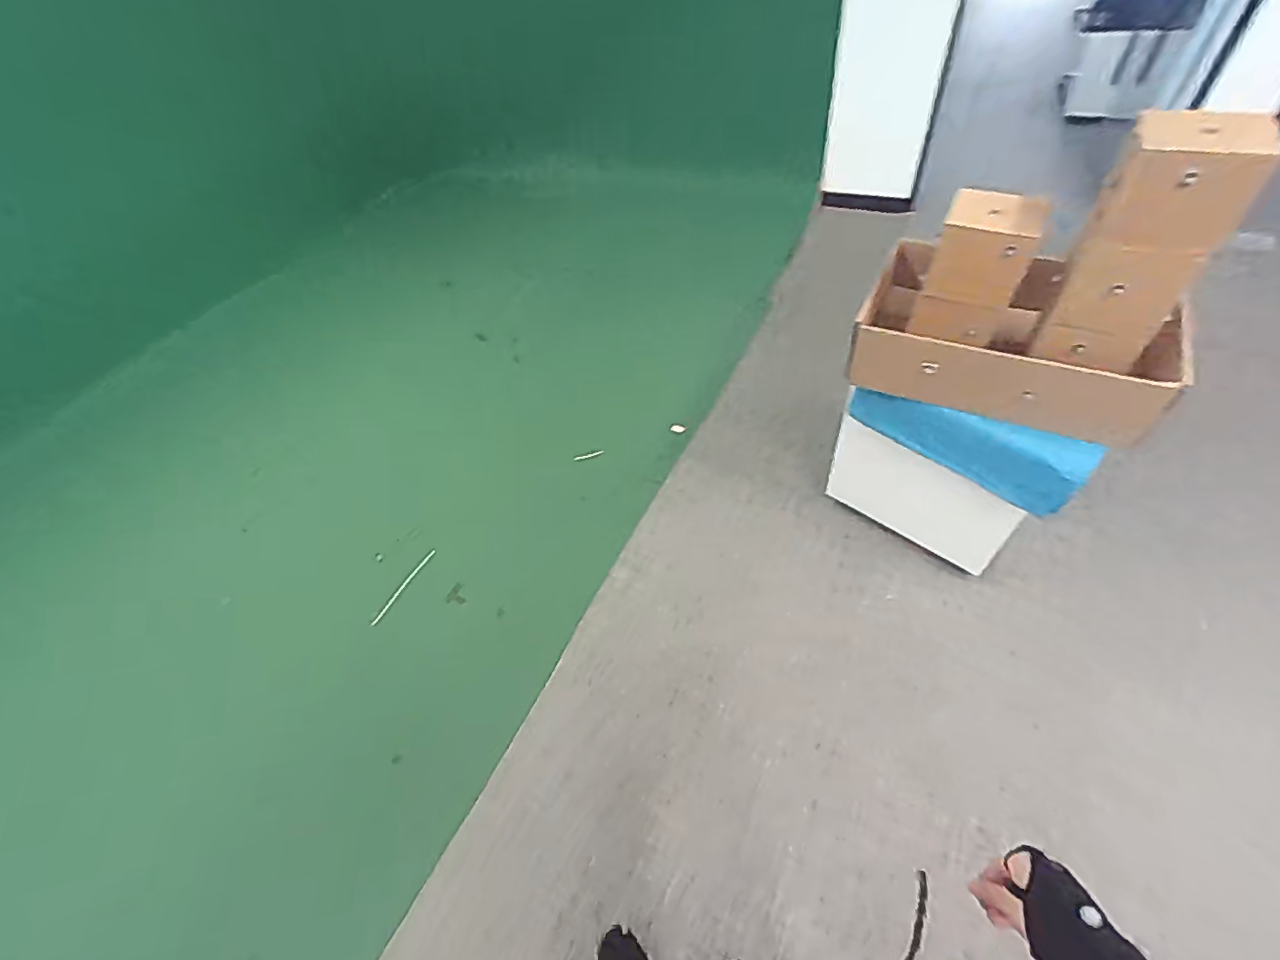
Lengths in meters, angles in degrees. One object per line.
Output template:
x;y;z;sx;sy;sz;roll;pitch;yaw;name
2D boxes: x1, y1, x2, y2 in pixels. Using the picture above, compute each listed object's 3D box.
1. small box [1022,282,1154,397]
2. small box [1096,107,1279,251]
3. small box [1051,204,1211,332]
0.967;-0.305;1.177;0.179;0.176;0.168;20;57;25;small box
0.928;-0.516;0.930;0.179;0.176;0.168;19;57;24;small box
0.946;-0.409;1.052;0.179;0.176;0.168;18;56;25;small box
